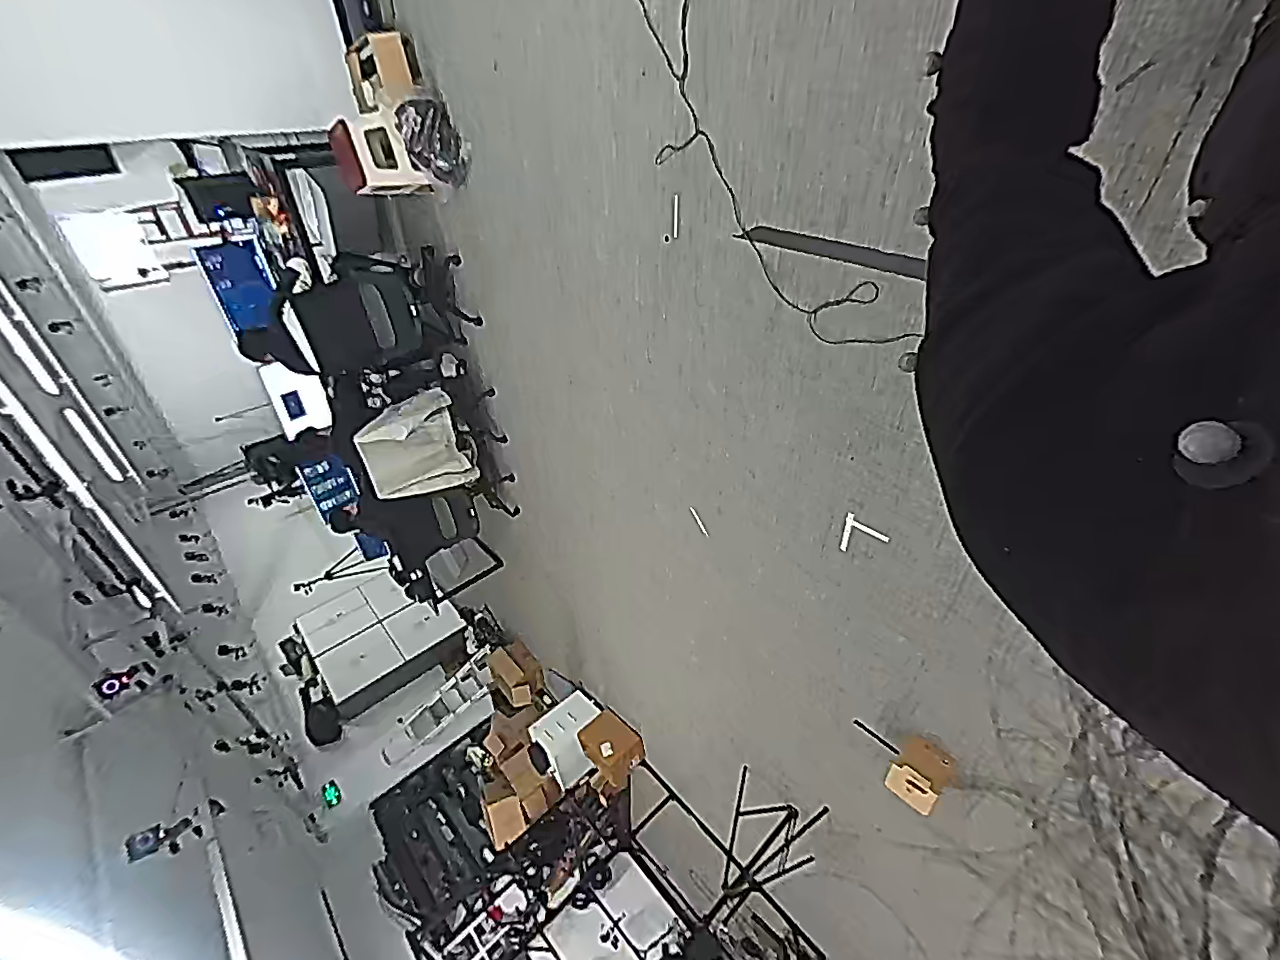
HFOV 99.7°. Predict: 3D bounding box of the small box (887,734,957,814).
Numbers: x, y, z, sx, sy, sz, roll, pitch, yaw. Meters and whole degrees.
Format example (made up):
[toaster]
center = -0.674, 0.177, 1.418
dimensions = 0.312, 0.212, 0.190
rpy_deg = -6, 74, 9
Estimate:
[small box]
center = 1.077, 1.113, 2.059
dimensions = 0.168, 0.176, 0.179
rpy_deg = 31, 138, 38
